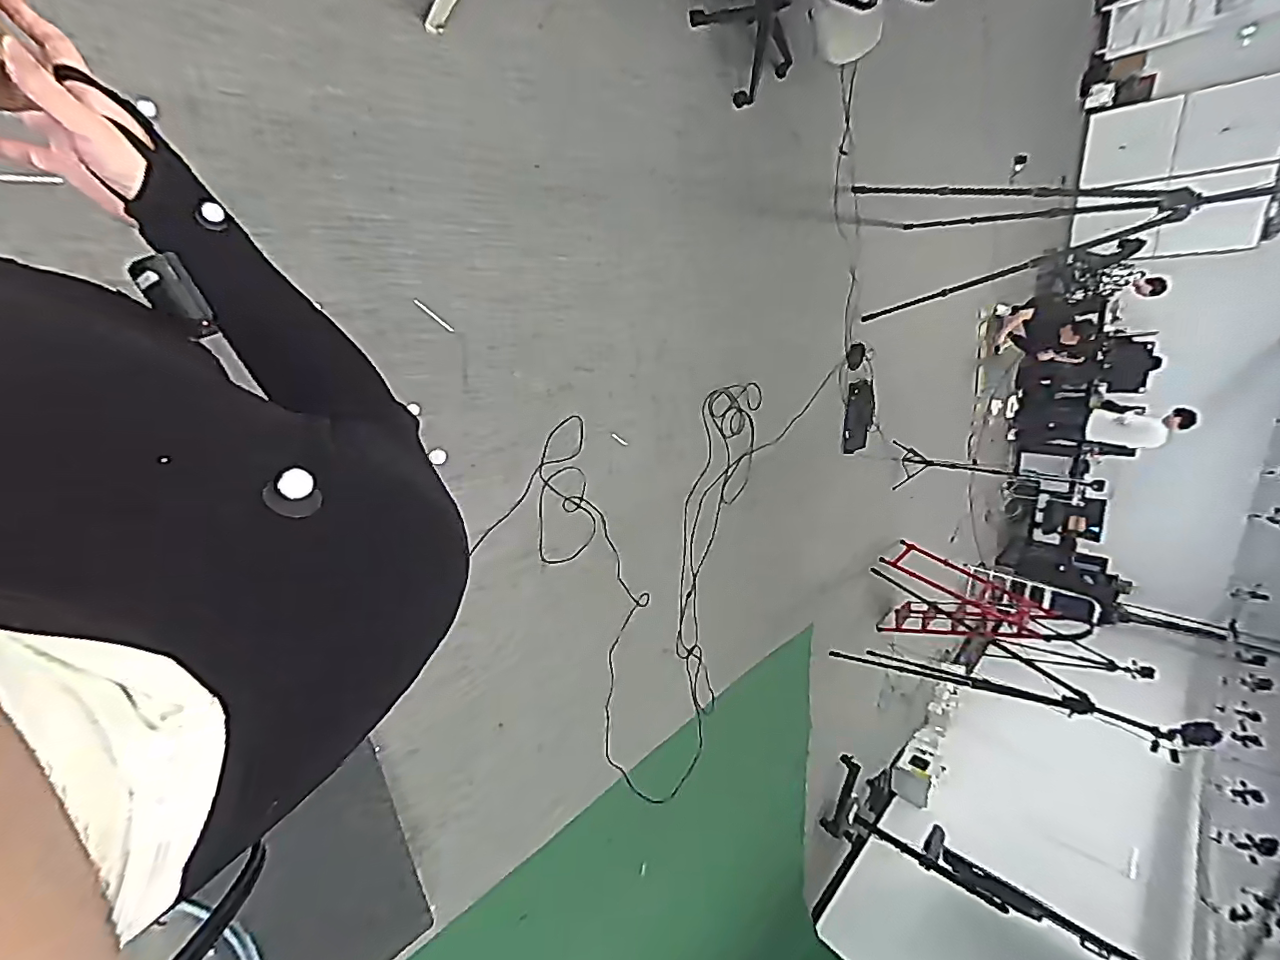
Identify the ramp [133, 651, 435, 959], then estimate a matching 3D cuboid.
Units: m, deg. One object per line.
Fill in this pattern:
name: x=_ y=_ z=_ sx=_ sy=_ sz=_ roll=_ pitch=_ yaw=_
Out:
ramp: x=-0.962 y=1.049 z=1.555 sx=0.509 sy=0.206 sz=0.991 roll=-23 pitch=115 yaw=-38
